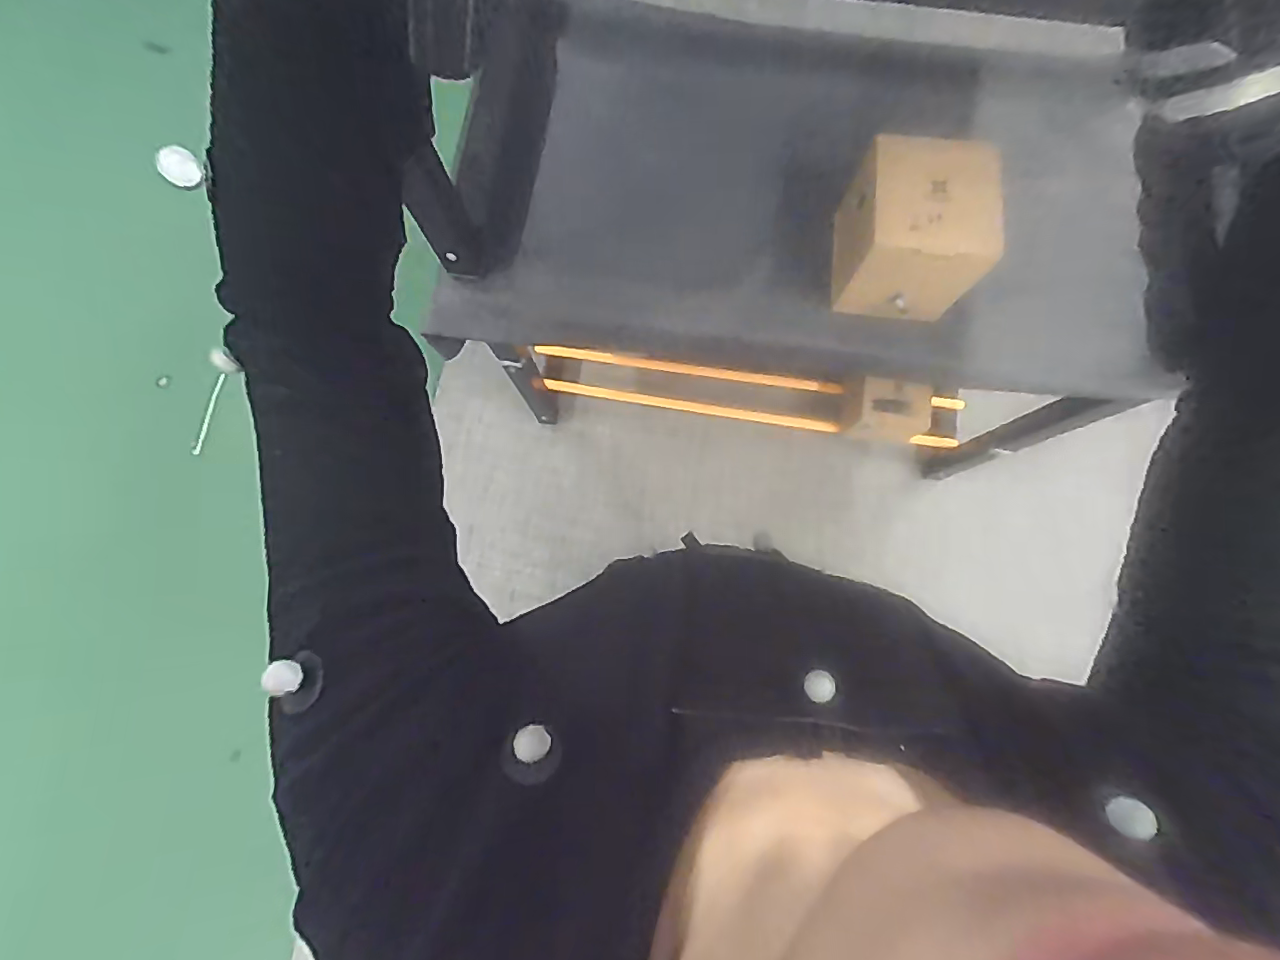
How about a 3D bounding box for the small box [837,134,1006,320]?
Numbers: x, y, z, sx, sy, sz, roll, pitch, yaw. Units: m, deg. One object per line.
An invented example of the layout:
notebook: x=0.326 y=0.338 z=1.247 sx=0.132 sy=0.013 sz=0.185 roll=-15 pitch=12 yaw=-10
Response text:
small box: x=0.401 y=-0.362 z=0.796 sx=0.168 sy=0.176 sz=0.179 roll=6 pitch=77 yaw=3
